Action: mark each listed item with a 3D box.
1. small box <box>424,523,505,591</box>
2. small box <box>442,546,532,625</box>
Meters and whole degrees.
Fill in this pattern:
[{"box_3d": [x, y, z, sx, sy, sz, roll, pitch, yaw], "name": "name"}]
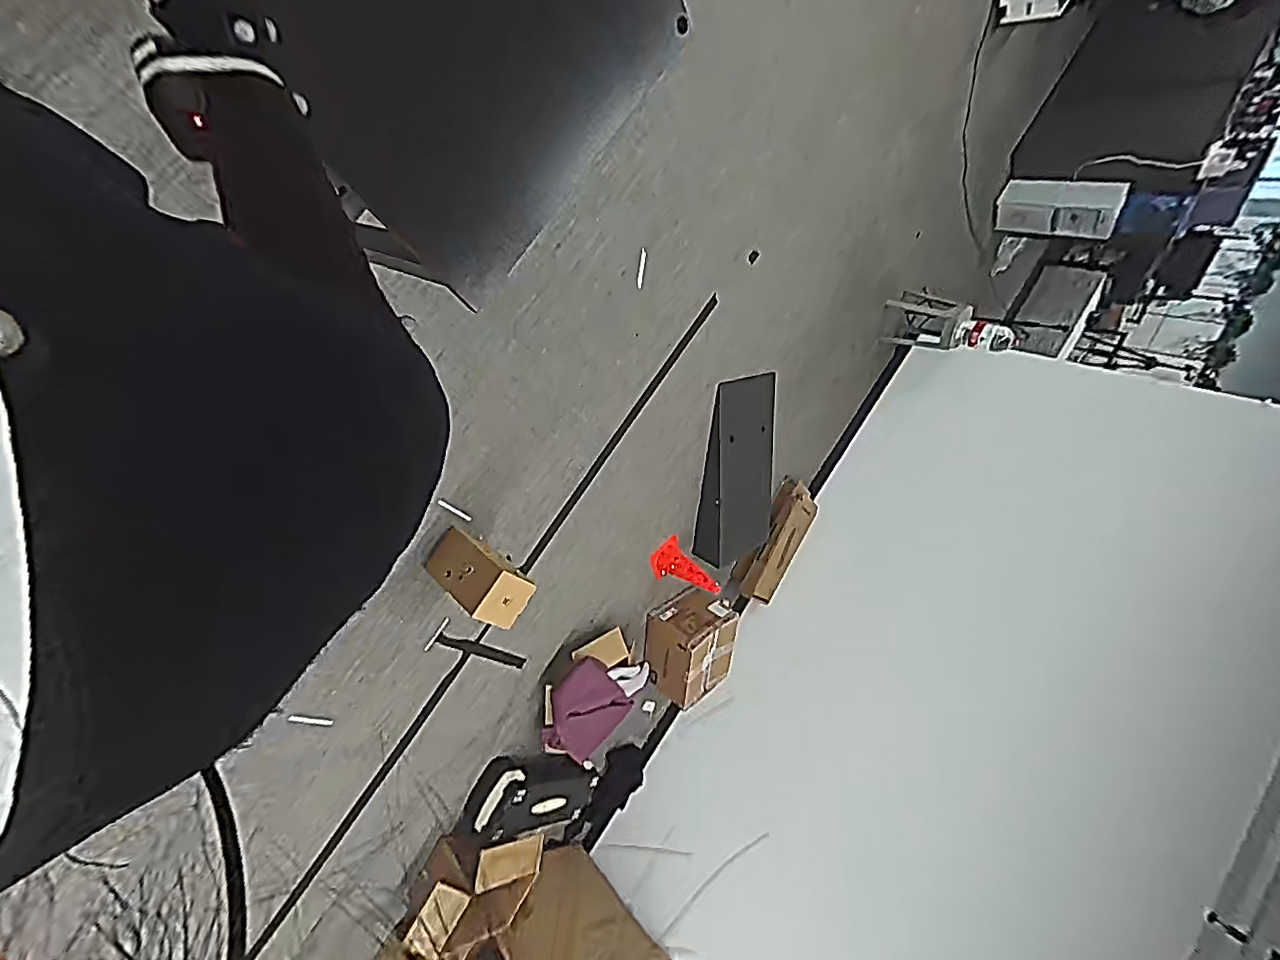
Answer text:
[{"box_3d": [-0.600, 0.276, 1.824, 0.179, 0.176, 0.168, -56, 143, -7], "name": "small box"}, {"box_3d": [-0.487, 0.333, 1.722, 0.168, 0.176, 0.179, -57, 141, -8], "name": "small box"}]
